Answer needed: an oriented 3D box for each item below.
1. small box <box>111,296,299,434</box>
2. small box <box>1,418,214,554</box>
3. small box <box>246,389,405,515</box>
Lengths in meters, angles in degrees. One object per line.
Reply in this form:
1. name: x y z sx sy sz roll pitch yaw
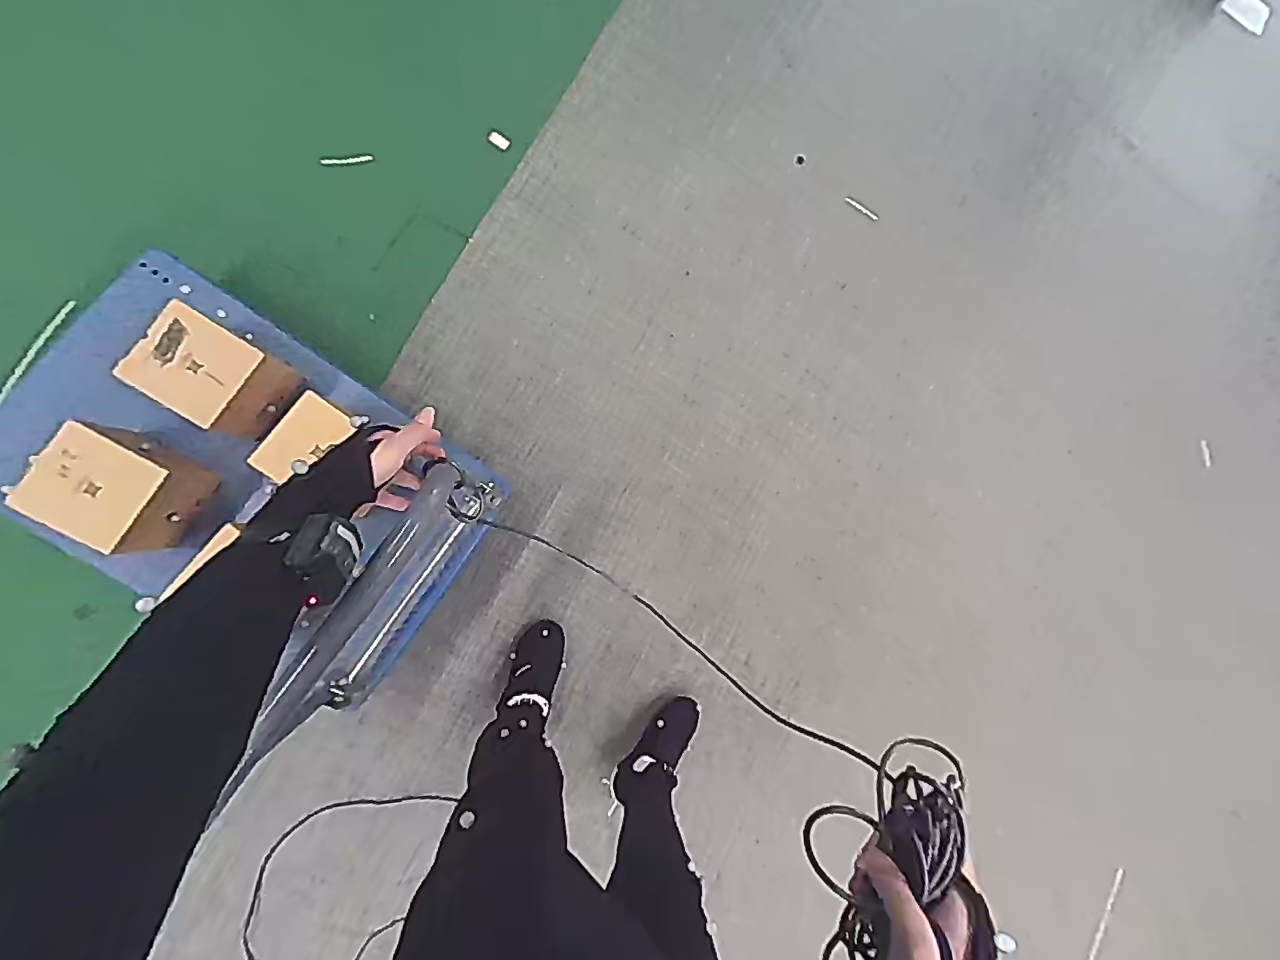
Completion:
1. small box: -0.790 -0.201 1.006 0.179 0.176 0.168 34 82 -9
2. small box: -0.929 0.012 0.968 0.179 0.176 0.168 32 81 -8
3. small box: -0.588 -0.045 1.040 0.179 0.176 0.168 37 81 -8
